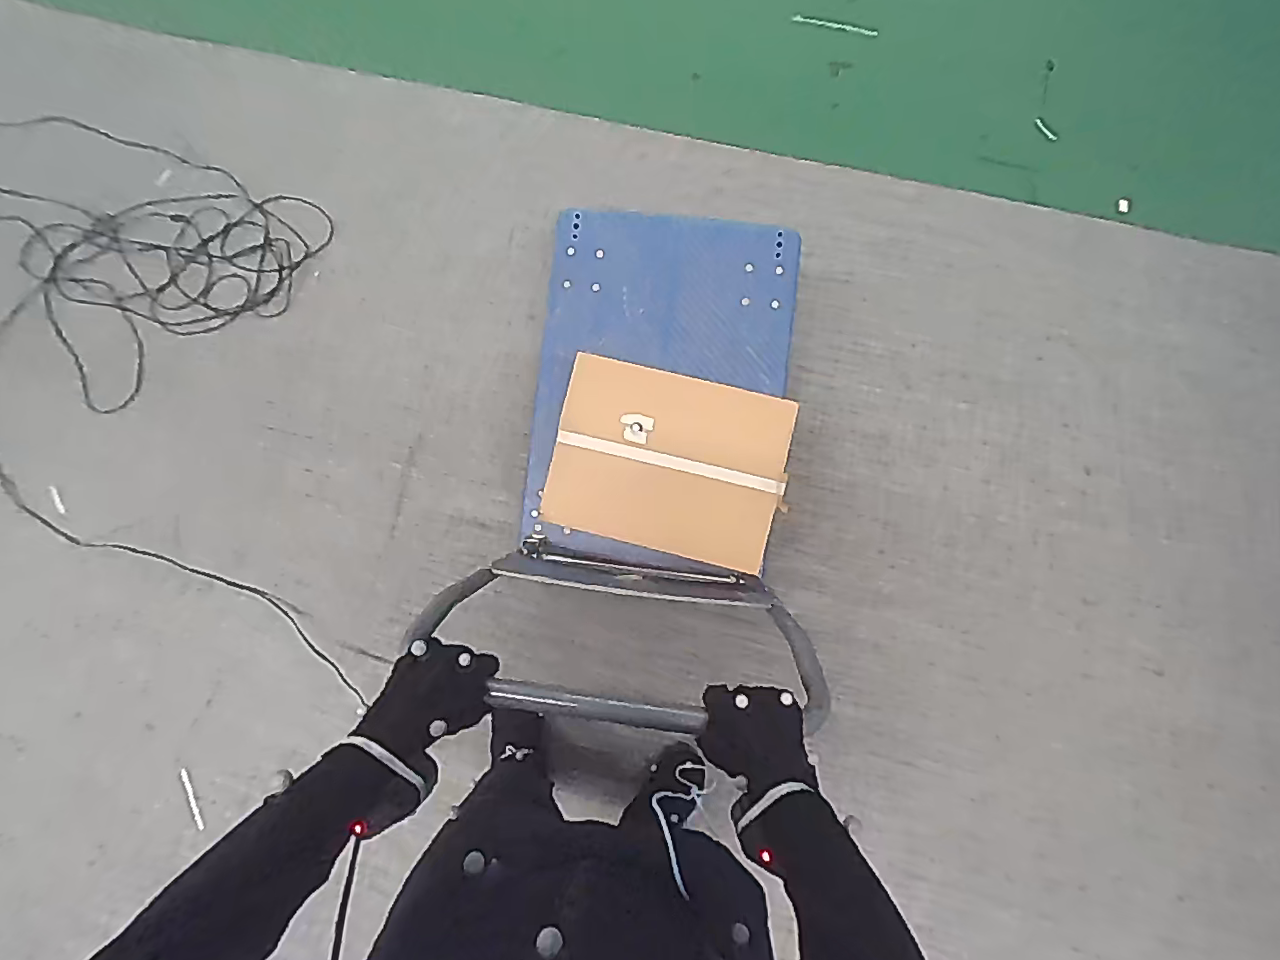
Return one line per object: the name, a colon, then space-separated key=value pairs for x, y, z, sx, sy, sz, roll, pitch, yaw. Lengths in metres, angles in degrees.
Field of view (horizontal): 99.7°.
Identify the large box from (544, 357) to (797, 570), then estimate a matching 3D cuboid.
large box: x=0.064 y=-0.030 z=1.100 sx=0.408 sy=0.320 sz=0.320 roll=13 pitch=90 yaw=5
